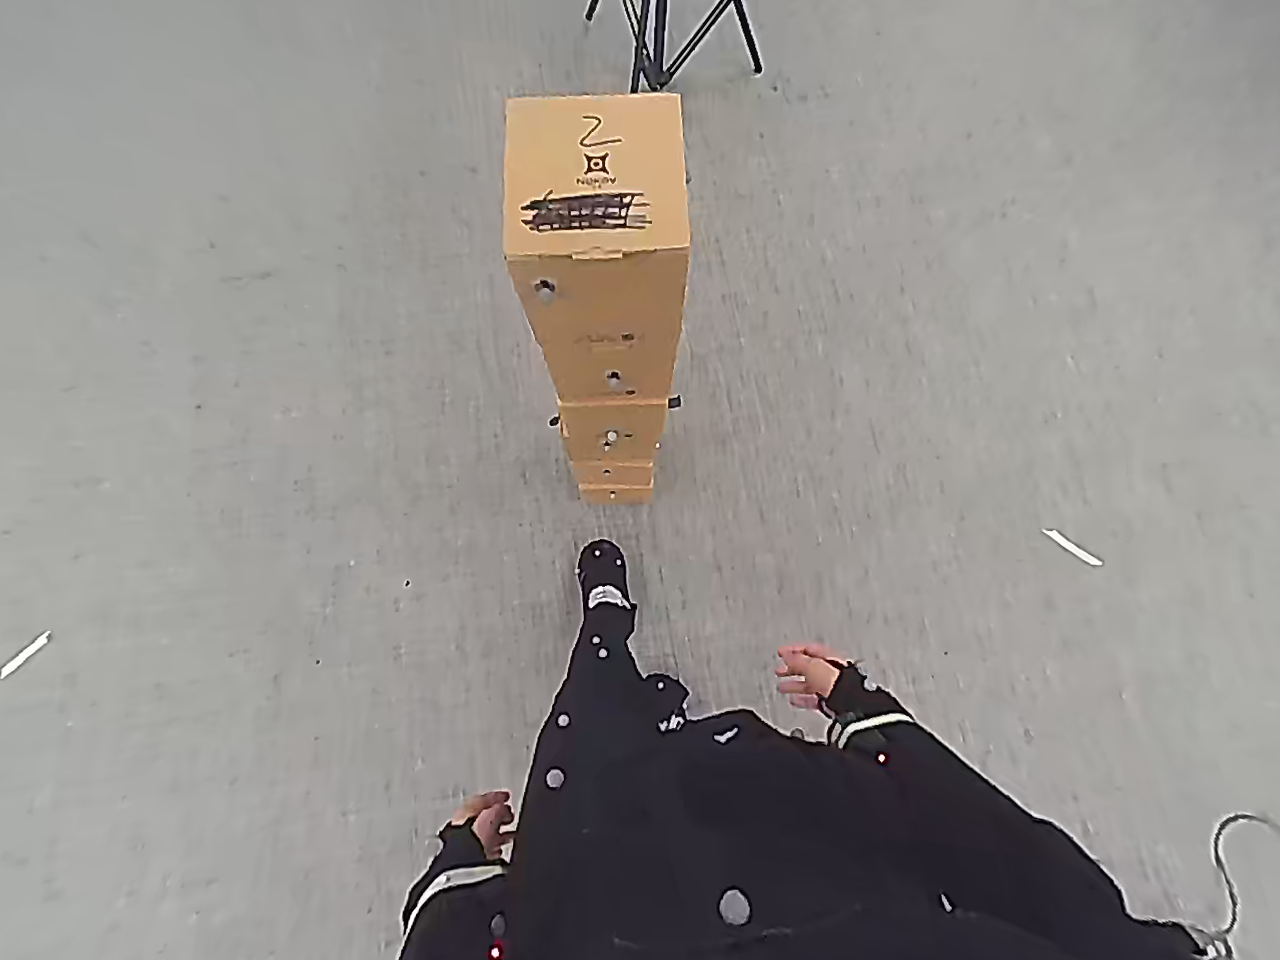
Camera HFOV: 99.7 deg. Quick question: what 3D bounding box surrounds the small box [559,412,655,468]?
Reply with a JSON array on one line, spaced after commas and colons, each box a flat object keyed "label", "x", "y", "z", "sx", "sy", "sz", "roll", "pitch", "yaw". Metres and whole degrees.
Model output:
[{"label": "small box", "x": -0.059, "y": -0.123, "z": 1.050, "sx": 0.179, "sy": 0.176, "sz": 0.168, "roll": -1, "pitch": 76, "yaw": -1}]

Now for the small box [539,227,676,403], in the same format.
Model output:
[{"label": "small box", "x": -0.041, "y": -0.211, "z": 0.735, "sx": 0.168, "sy": 0.176, "sz": 0.179, "roll": -3, "pitch": 77, "yaw": -1}]

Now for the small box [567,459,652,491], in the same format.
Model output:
[{"label": "small box", "x": -0.061, "y": -0.075, "z": 1.205, "sx": 0.179, "sy": 0.176, "sz": 0.168, "roll": 2, "pitch": 76, "yaw": 0}]

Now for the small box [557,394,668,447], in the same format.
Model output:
[{"label": "small box", "x": -0.043, "y": -0.162, "z": 0.891, "sx": 0.168, "sy": 0.176, "sz": 0.179, "roll": -1, "pitch": 77, "yaw": 0}]

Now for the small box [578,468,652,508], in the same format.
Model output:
[{"label": "small box", "x": -0.062, "y": -0.025, "z": 1.362, "sx": 0.179, "sy": 0.176, "sz": 0.168, "roll": -1, "pitch": 76, "yaw": -1}]
